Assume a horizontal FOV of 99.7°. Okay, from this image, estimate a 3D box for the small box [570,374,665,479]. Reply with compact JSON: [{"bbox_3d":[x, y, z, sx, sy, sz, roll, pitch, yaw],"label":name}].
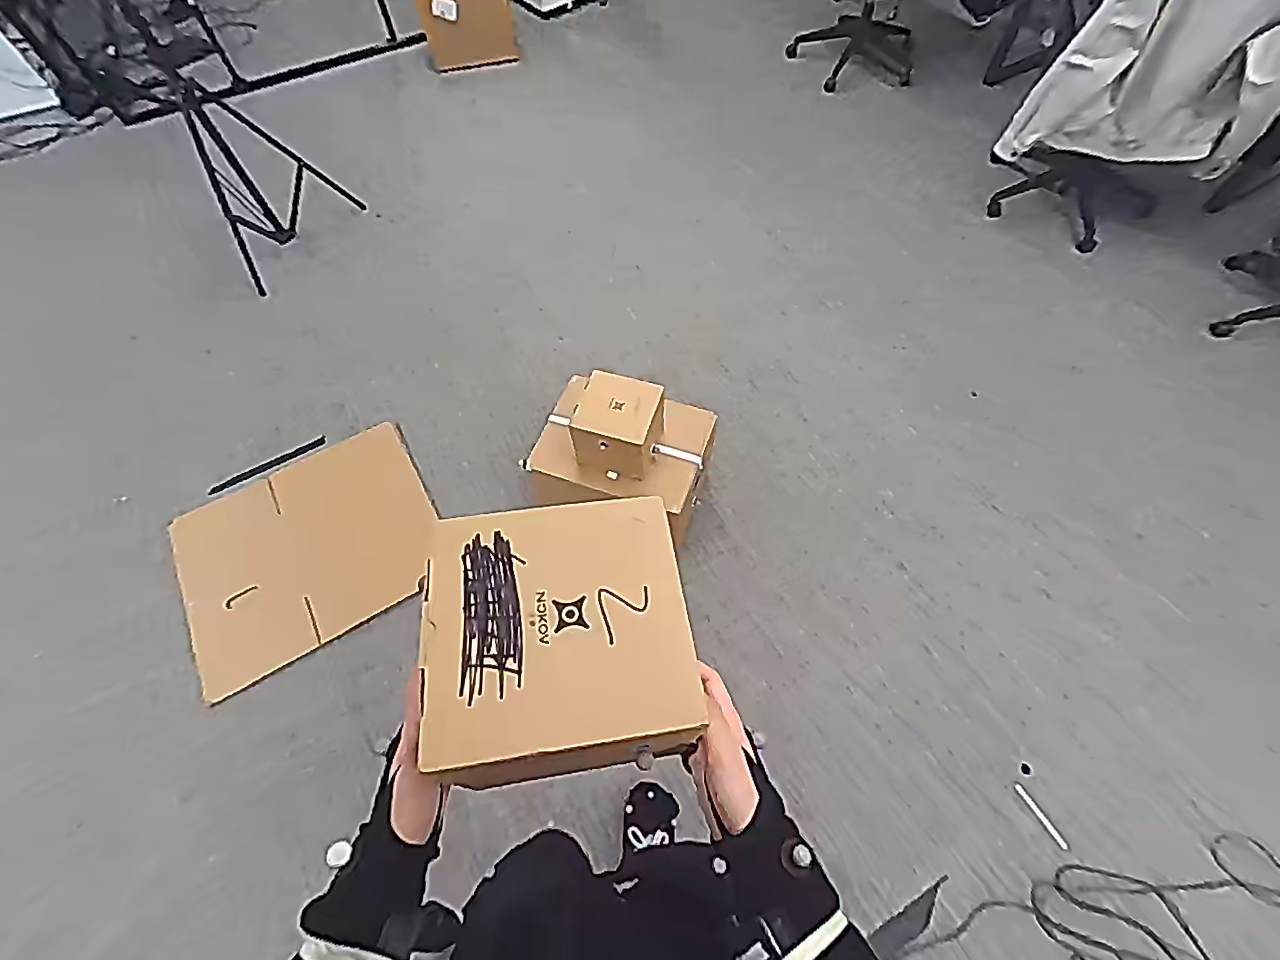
[{"bbox_3d":[-0.046,-0.121,1.278,0.179,0.176,0.168,15,64,9],"label":"small box"}]
